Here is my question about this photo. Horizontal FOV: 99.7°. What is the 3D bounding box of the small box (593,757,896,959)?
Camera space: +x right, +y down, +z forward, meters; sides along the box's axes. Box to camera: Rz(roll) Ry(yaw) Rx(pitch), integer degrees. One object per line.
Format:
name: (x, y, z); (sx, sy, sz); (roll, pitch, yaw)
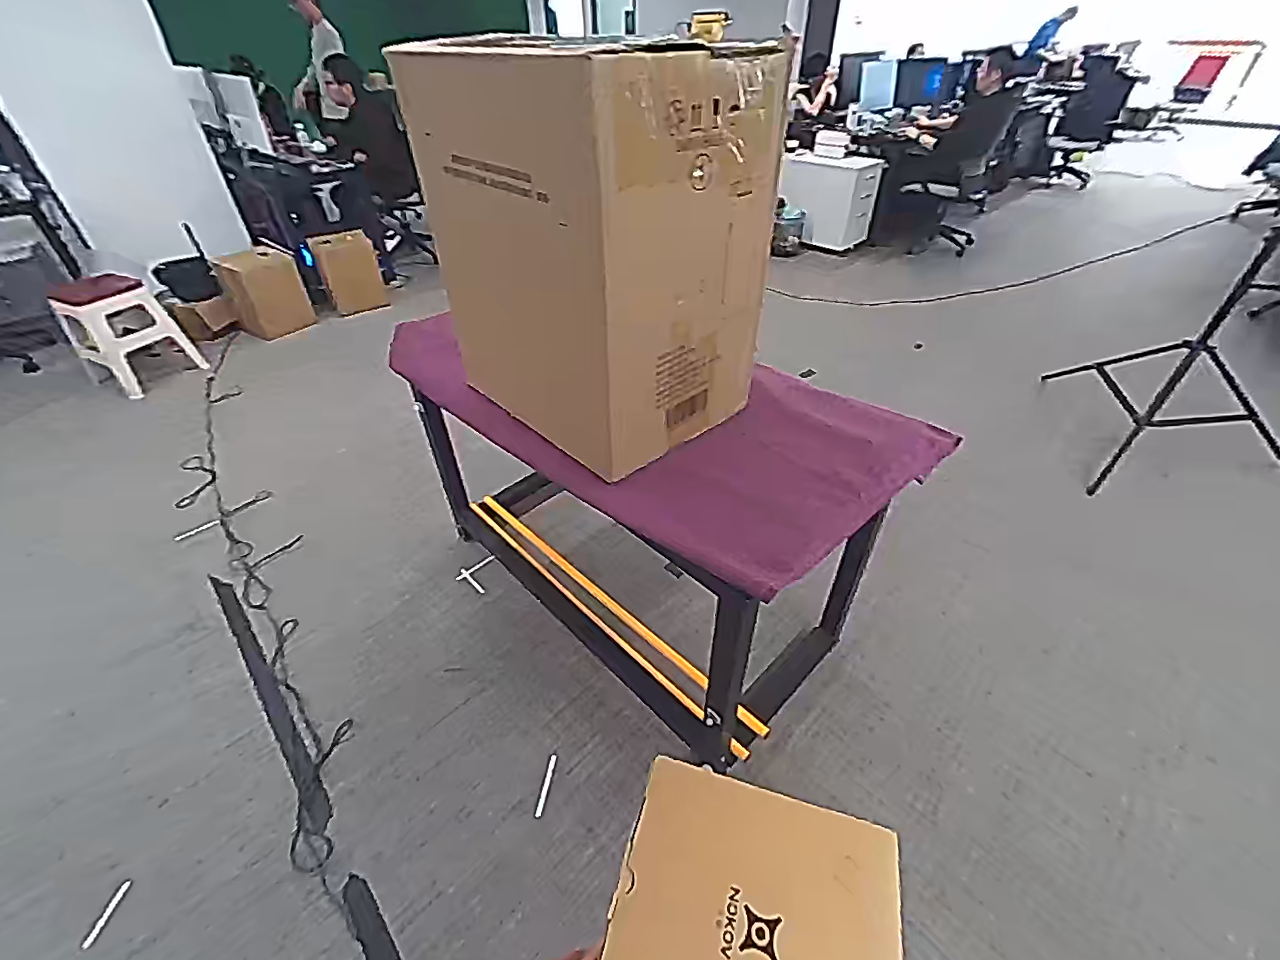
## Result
small box: (0.067, 0.335, 0.385); (0.179, 0.176, 0.168); (10, 42, 13)
